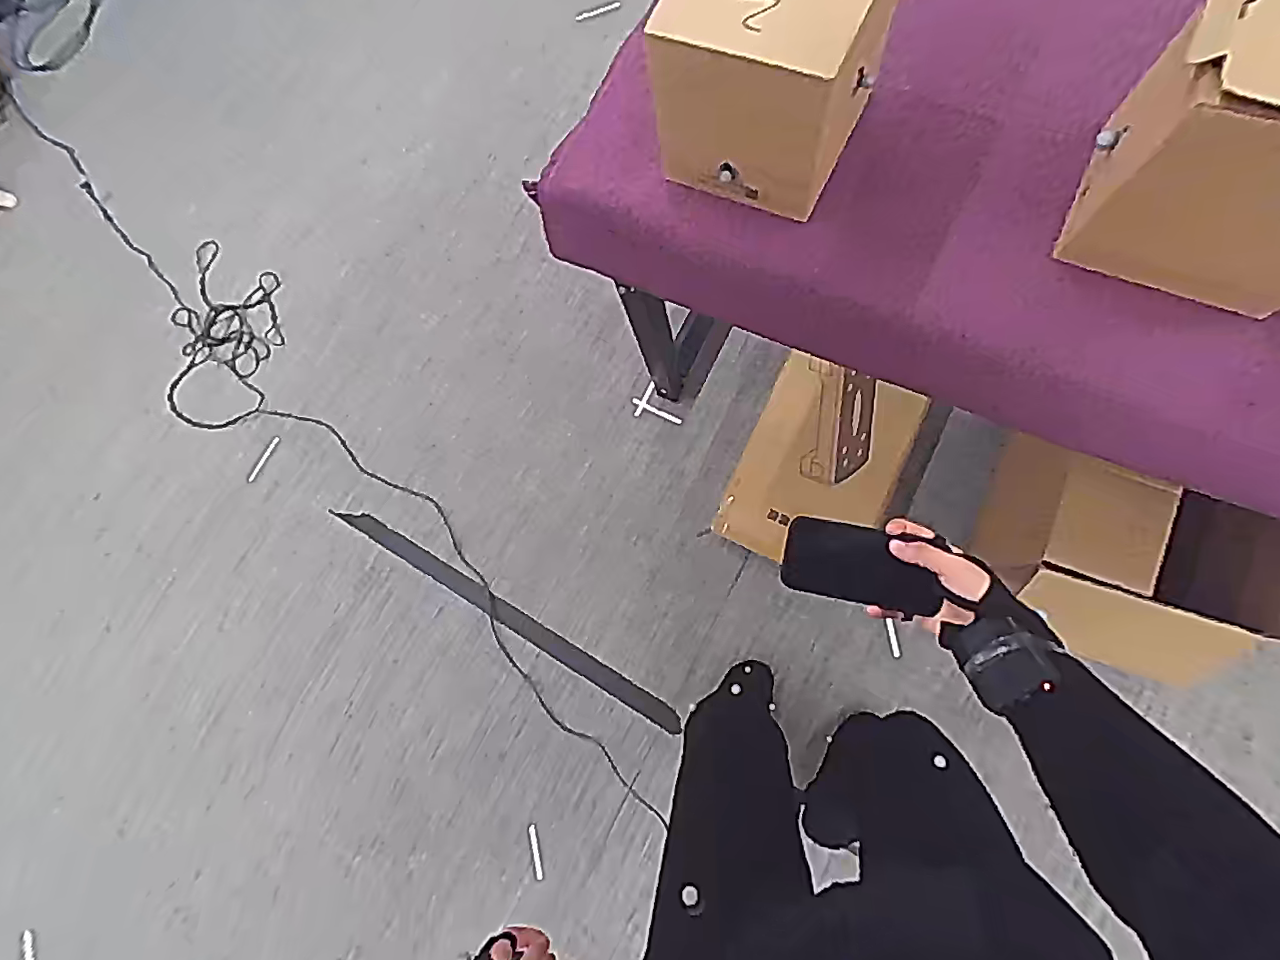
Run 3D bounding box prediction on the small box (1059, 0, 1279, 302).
[{"bbox_3d":[0.487,-0.267,0.419,0.179,0.176,0.168,25,81,14],"label":"small box"}]
